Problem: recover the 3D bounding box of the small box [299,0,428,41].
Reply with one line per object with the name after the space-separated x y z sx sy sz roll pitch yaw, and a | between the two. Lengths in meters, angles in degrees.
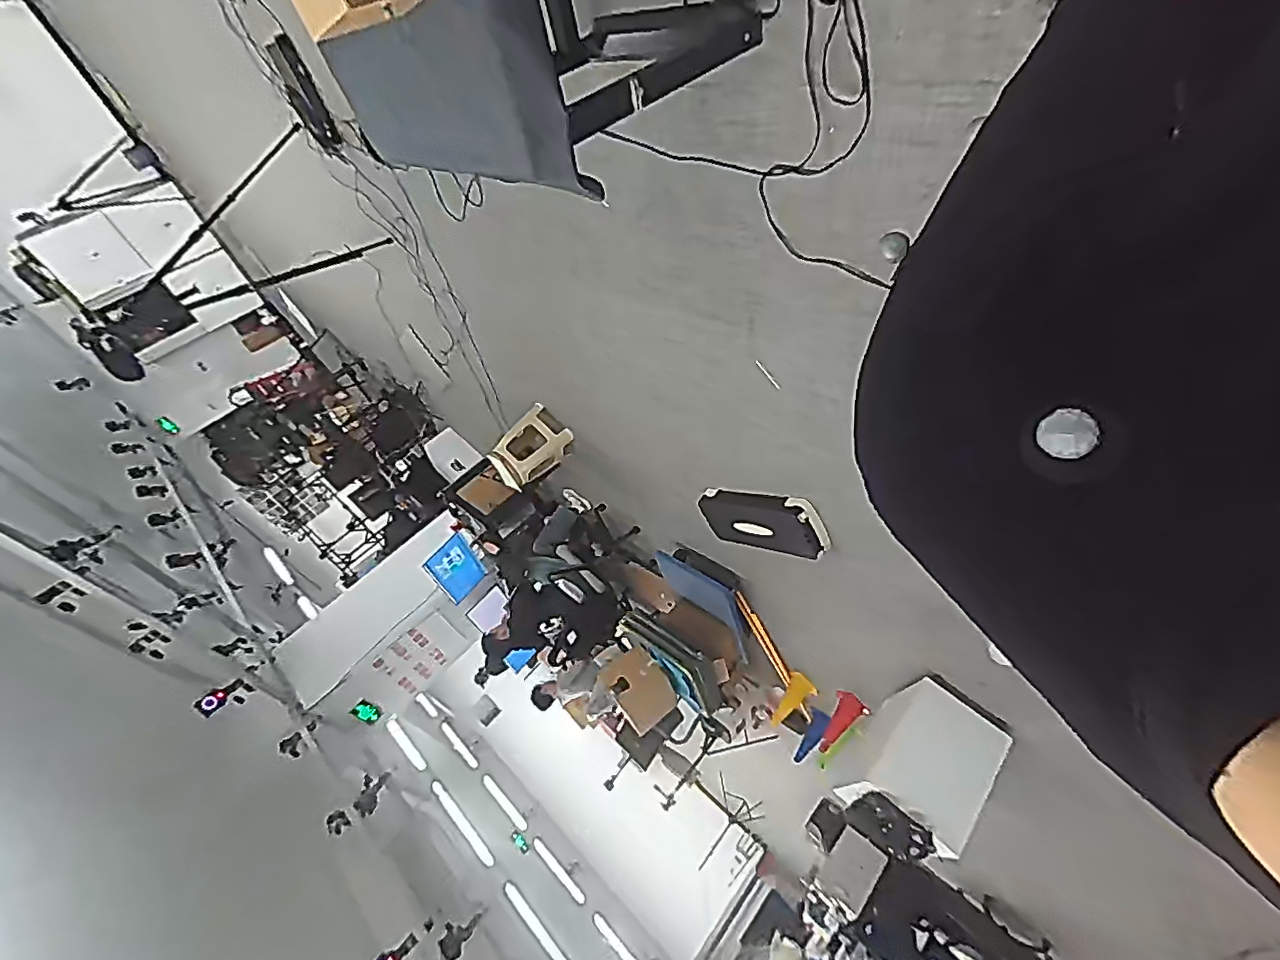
-0.412 -0.772 0.772 0.179 0.176 0.168 24 146 44 | small box
